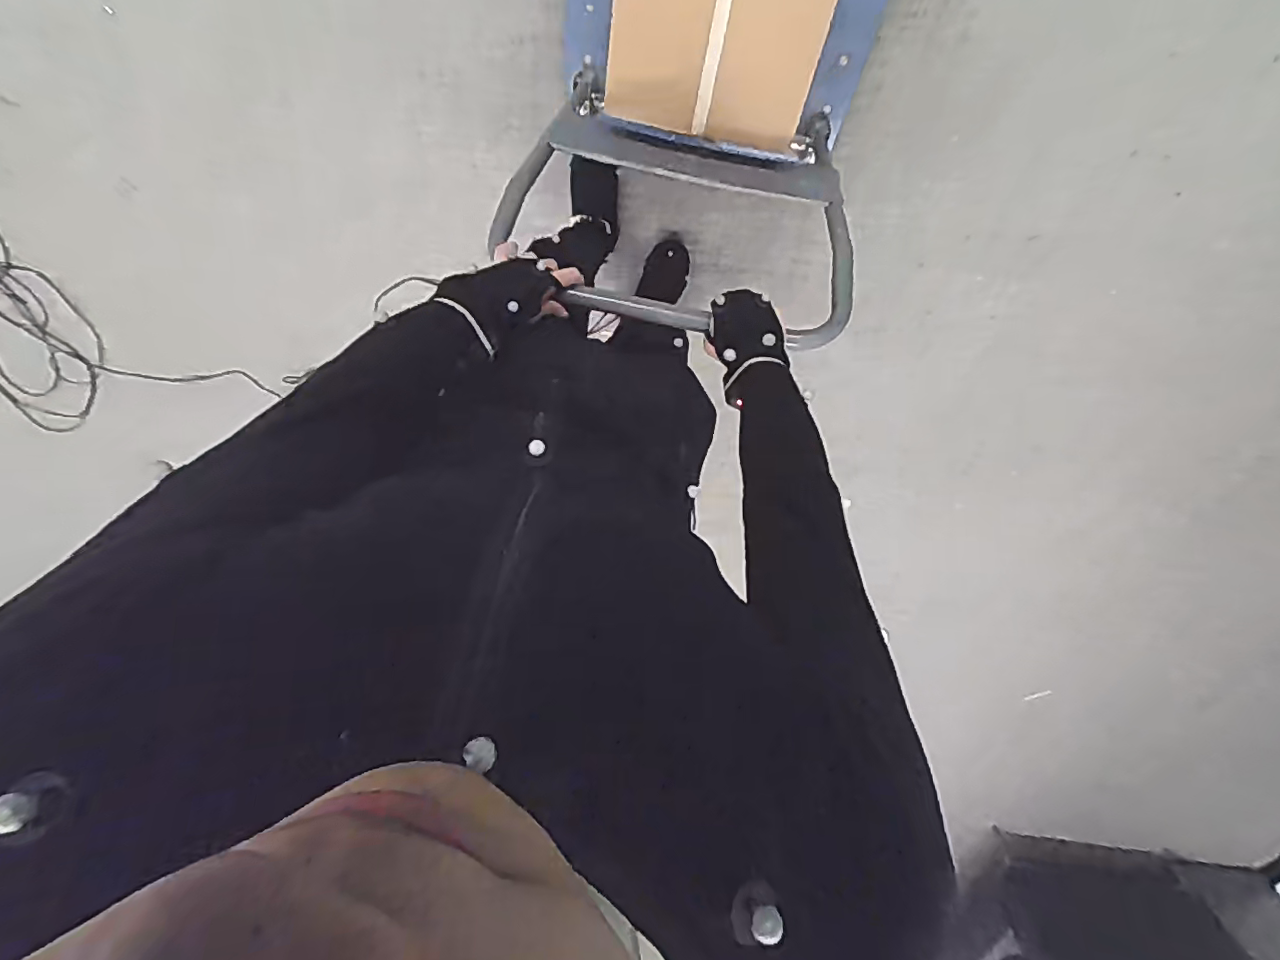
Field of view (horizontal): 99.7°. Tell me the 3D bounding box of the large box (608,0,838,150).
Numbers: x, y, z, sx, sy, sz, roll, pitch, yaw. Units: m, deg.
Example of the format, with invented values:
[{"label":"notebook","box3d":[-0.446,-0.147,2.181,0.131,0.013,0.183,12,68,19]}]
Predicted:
[{"label":"large box","box3d":[0.148,-0.805,0.842,0.320,0.320,0.408,12,136,-1]}]
